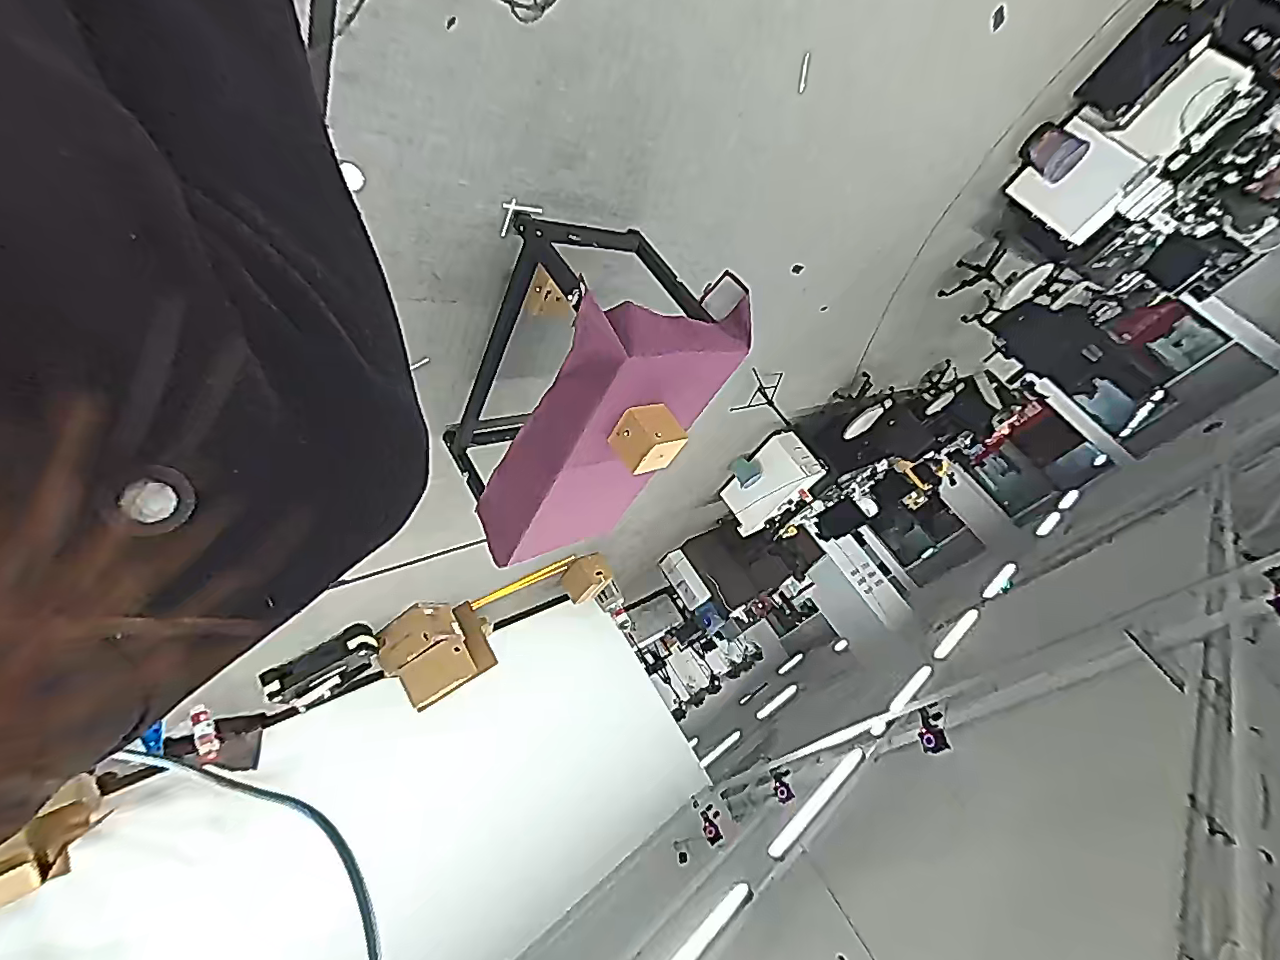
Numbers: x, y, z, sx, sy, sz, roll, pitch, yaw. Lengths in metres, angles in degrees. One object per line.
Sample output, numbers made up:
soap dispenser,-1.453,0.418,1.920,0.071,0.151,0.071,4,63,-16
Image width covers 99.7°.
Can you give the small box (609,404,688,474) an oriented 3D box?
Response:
small box,0.025,-0.149,1.877,0.179,0.176,0.168,-15,152,-42
